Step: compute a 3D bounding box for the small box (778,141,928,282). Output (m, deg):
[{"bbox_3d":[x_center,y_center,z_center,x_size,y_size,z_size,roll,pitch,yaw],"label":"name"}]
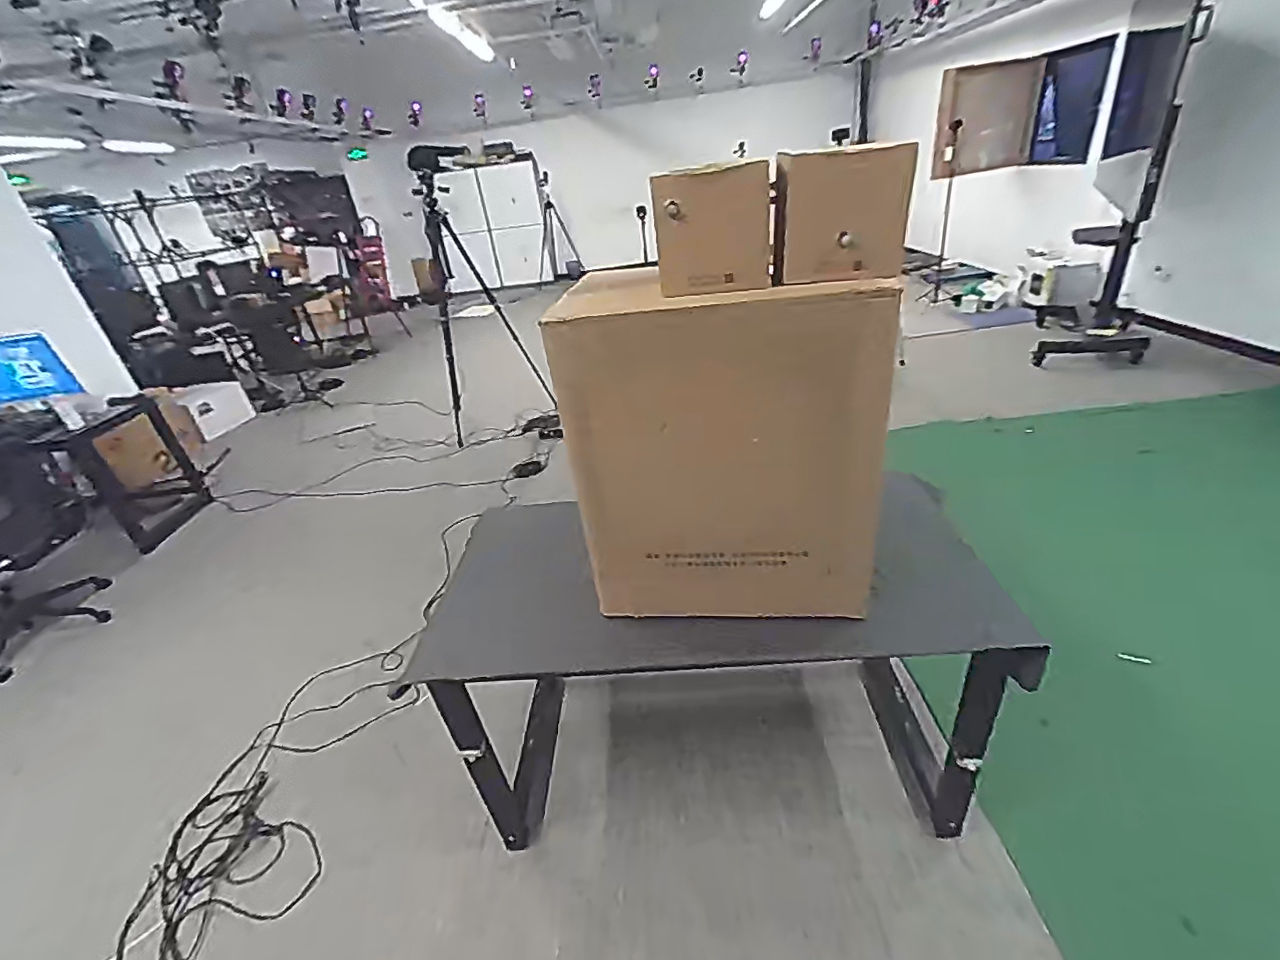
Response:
[{"bbox_3d":[0.301,-0.400,0.808,0.168,0.176,0.179,-1,32,8],"label":"small box"}]
